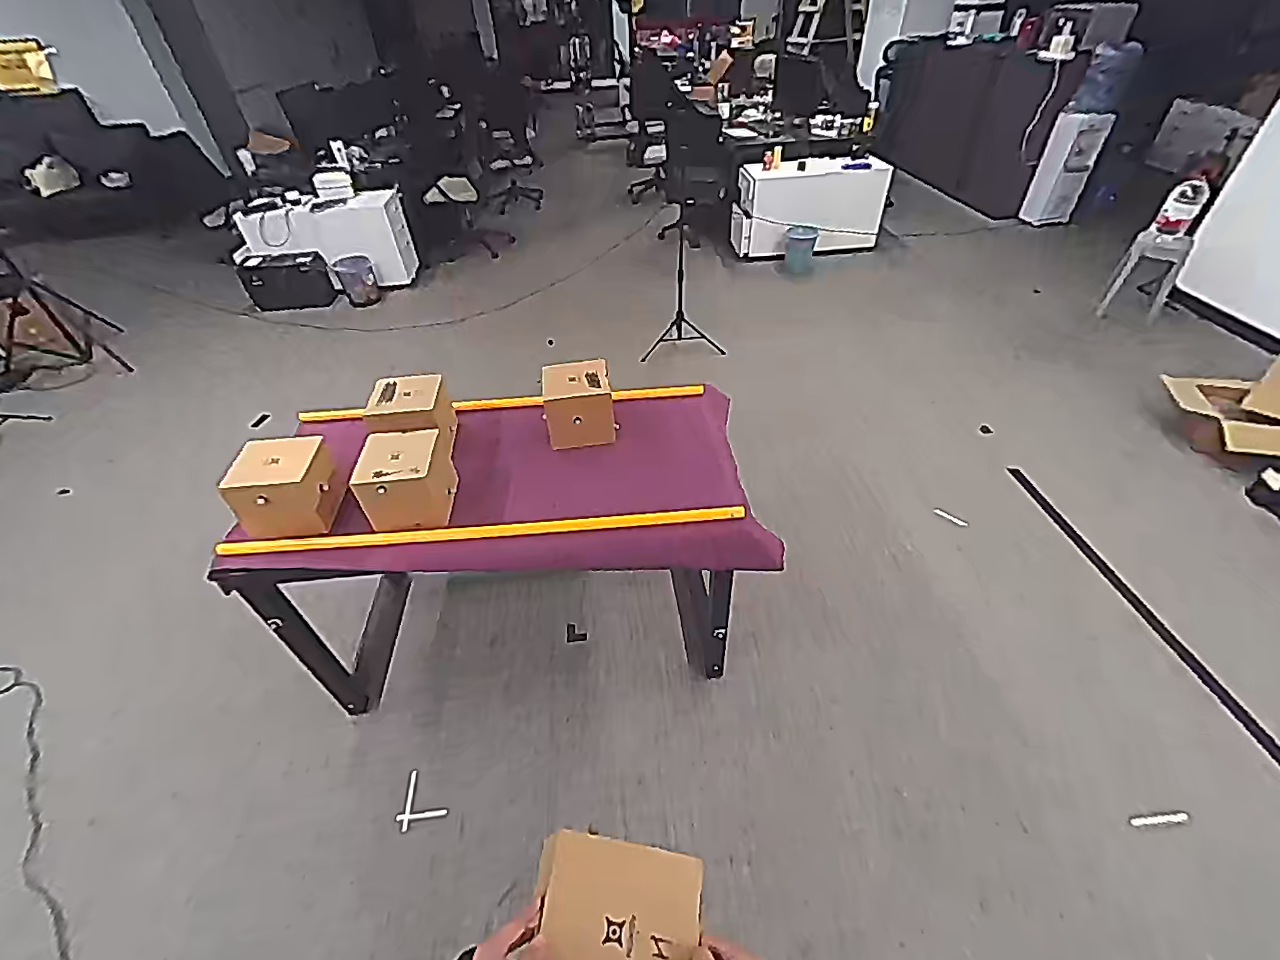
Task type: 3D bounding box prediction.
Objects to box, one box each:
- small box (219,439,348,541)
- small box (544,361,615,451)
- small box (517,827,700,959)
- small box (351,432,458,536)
[{"bbox_3d":[-0.820,0.025,1.269,0.179,0.176,0.168,-6,42,-4],"label":"small box"},{"bbox_3d":[-0.162,-0.199,1.471,0.179,0.176,0.168,-8,44,-3],"label":"small box"},{"bbox_3d":[-0.043,0.523,0.626,0.179,0.176,0.168,15,51,-5],"label":"small box"},{"bbox_3d":[-0.539,0.009,1.269,0.168,0.176,0.179,-6,42,-2],"label":"small box"}]
